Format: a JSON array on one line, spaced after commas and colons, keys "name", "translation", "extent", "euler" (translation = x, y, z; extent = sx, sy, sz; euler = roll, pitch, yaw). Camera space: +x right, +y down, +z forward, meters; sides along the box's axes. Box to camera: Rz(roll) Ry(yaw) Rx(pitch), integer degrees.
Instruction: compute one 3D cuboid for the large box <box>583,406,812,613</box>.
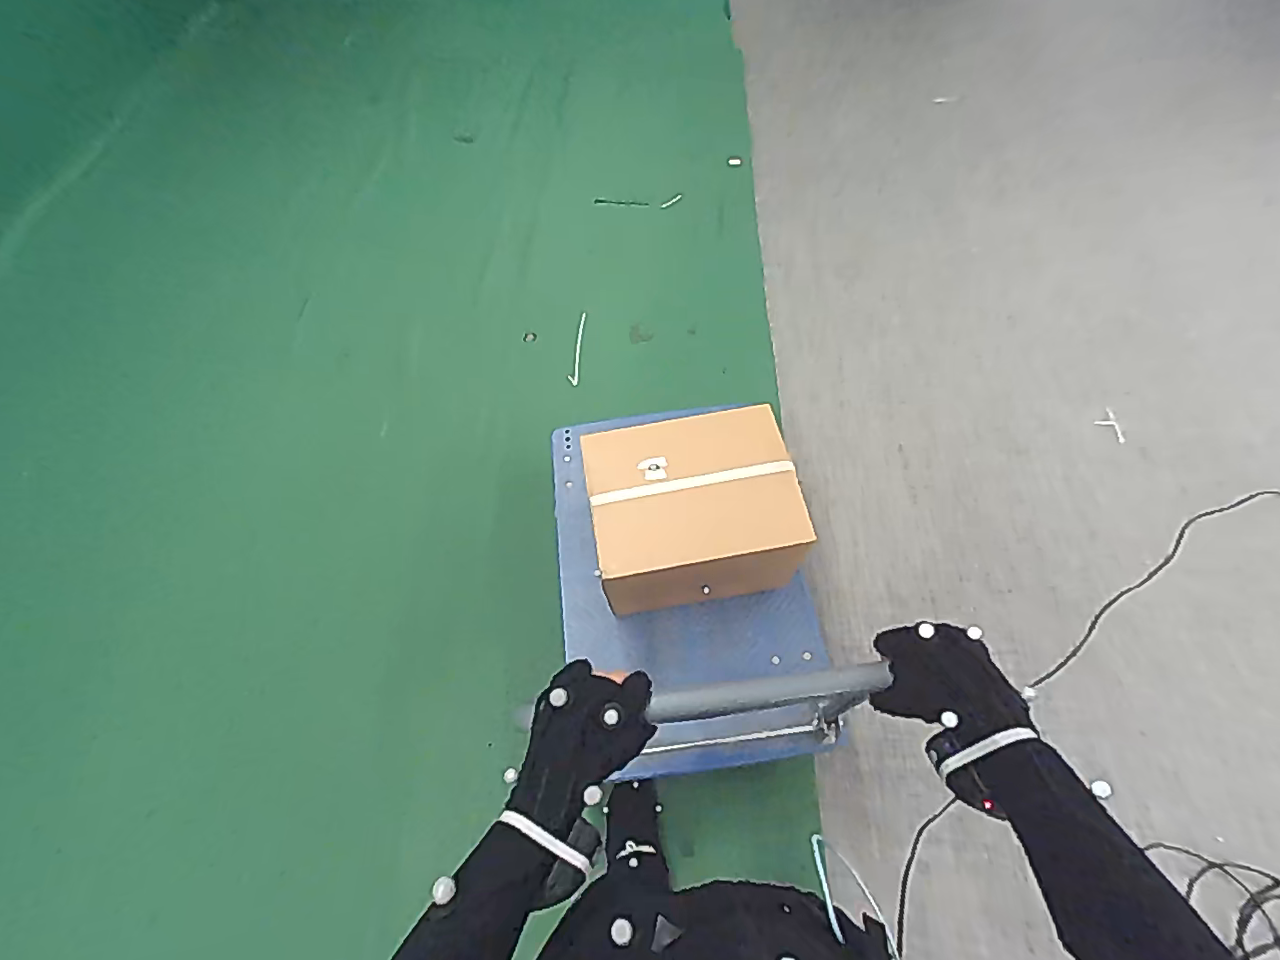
[{"name": "large box", "translation": [0.112, 0.079, 1.203], "extent": [0.408, 0.320, 0.320], "euler": [-11, 63, -2]}]
